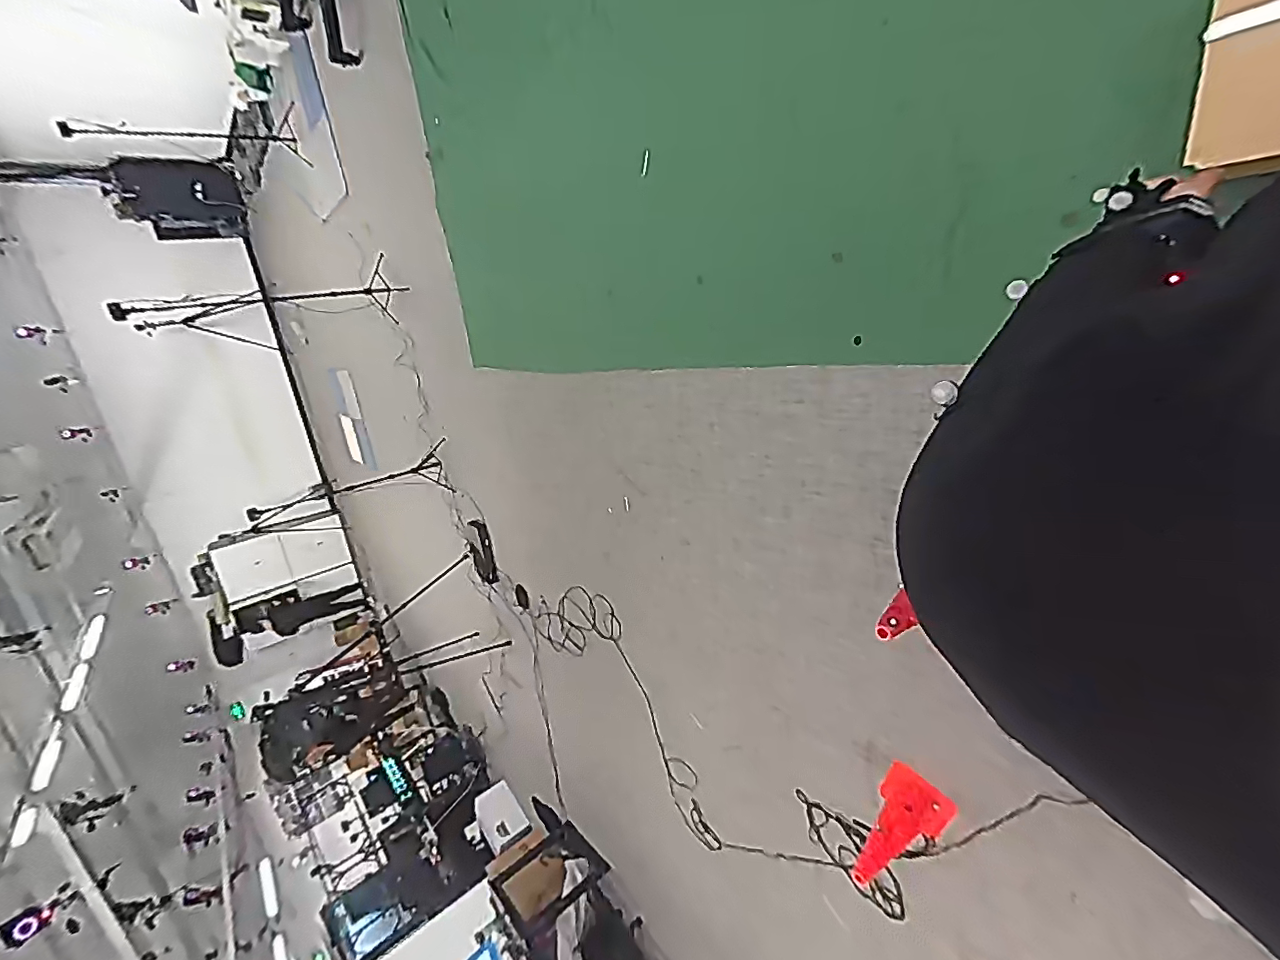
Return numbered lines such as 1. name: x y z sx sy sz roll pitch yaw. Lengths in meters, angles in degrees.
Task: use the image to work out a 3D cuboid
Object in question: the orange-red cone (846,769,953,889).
1. orange-red cone: 0.722 1.073 1.601 0.199 0.360 0.198 38 132 39
